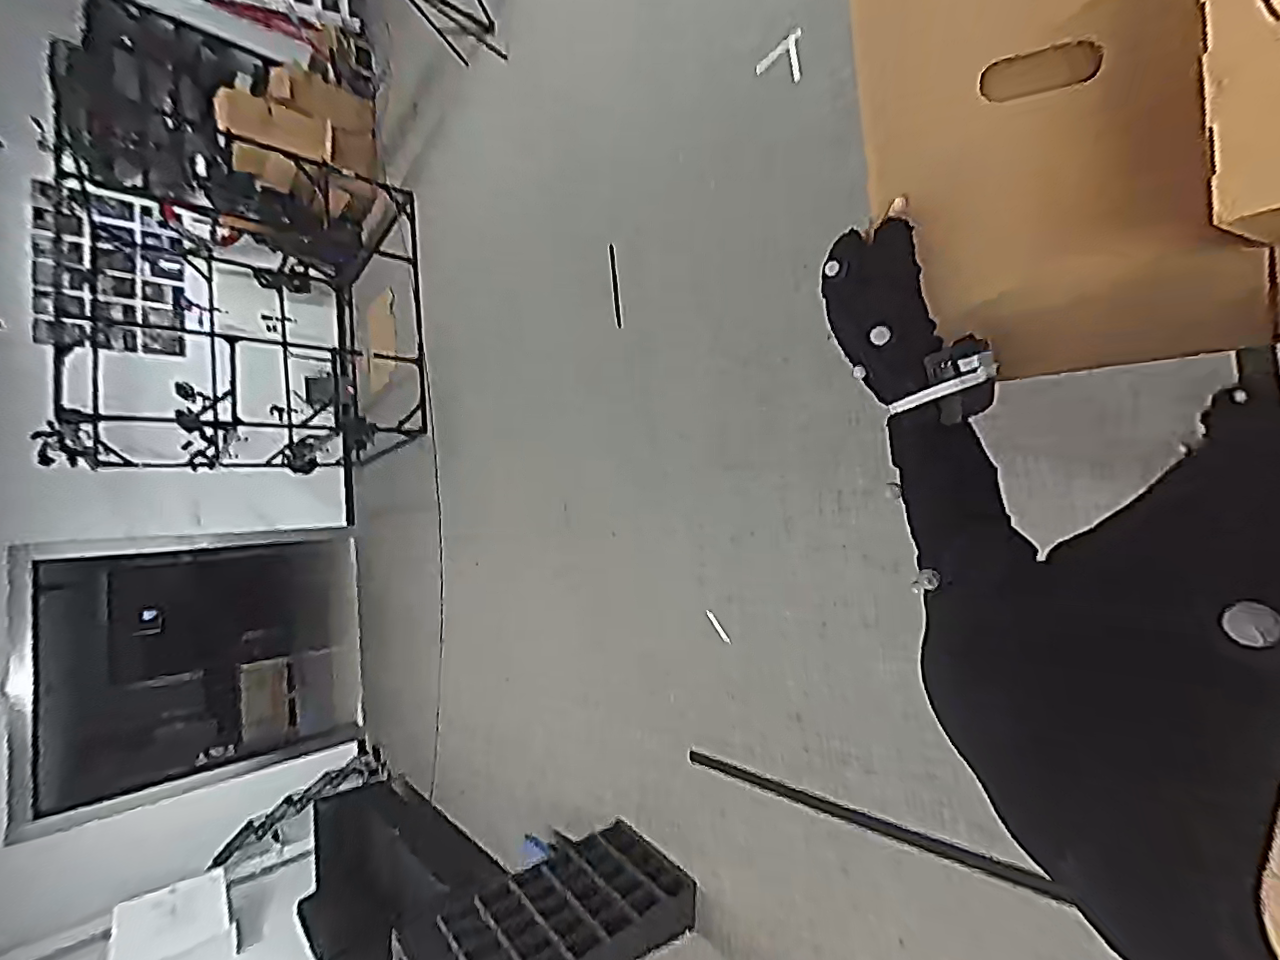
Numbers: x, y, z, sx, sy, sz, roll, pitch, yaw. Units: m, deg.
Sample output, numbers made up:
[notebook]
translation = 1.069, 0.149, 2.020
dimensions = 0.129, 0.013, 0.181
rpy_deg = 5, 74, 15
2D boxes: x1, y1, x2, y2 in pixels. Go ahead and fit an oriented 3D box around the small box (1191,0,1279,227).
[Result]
[small box]
translation = 0.462, -0.264, 0.309
dimensions = 0.179, 0.176, 0.168
rpy_deg = 0, 99, 59
